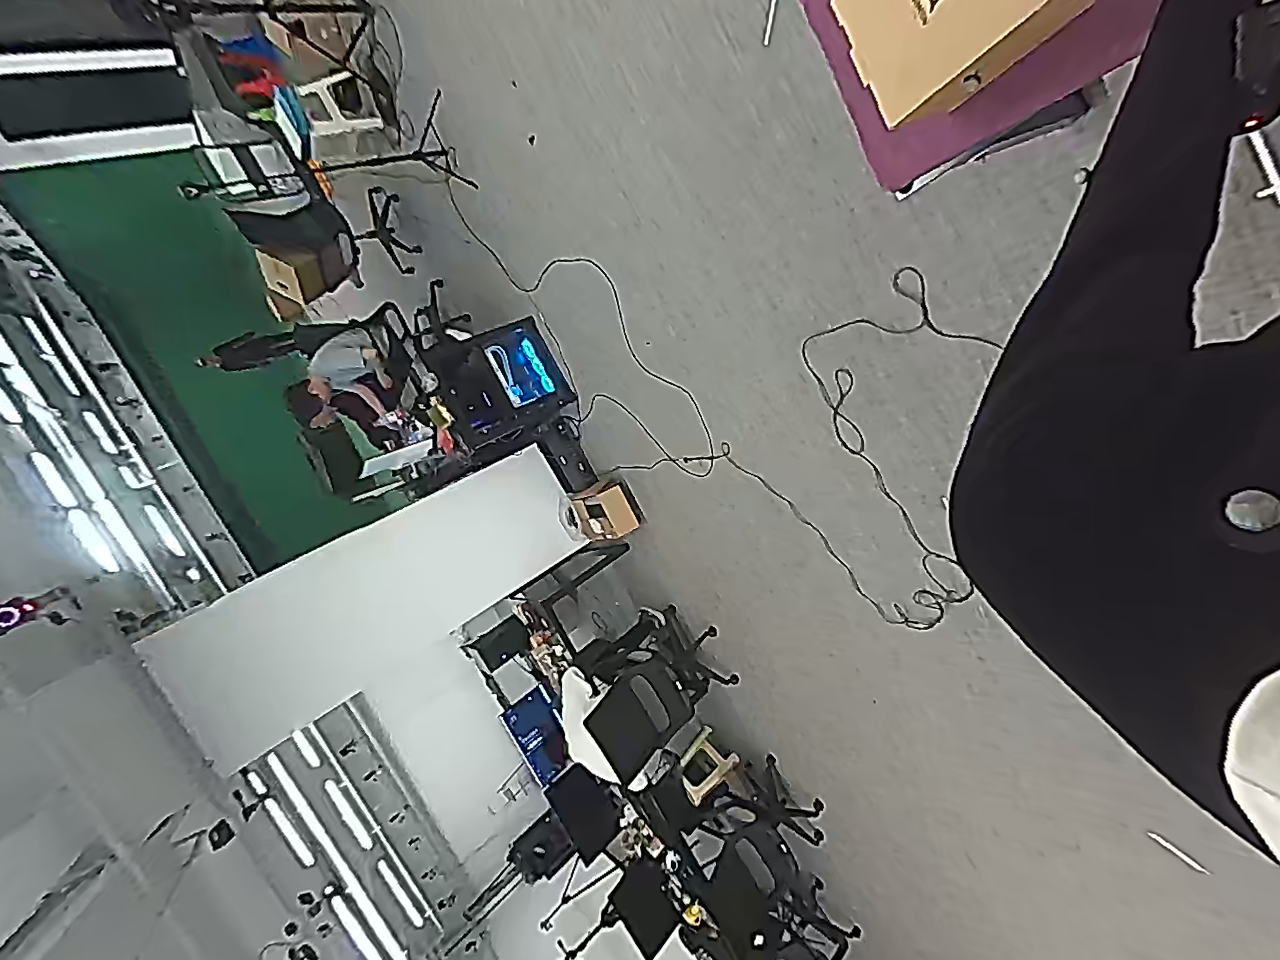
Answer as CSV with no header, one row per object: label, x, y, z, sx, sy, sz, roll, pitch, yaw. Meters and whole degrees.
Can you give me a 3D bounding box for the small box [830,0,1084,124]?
small box,0.360,-0.548,0.611,0.179,0.176,0.168,-18,103,59
